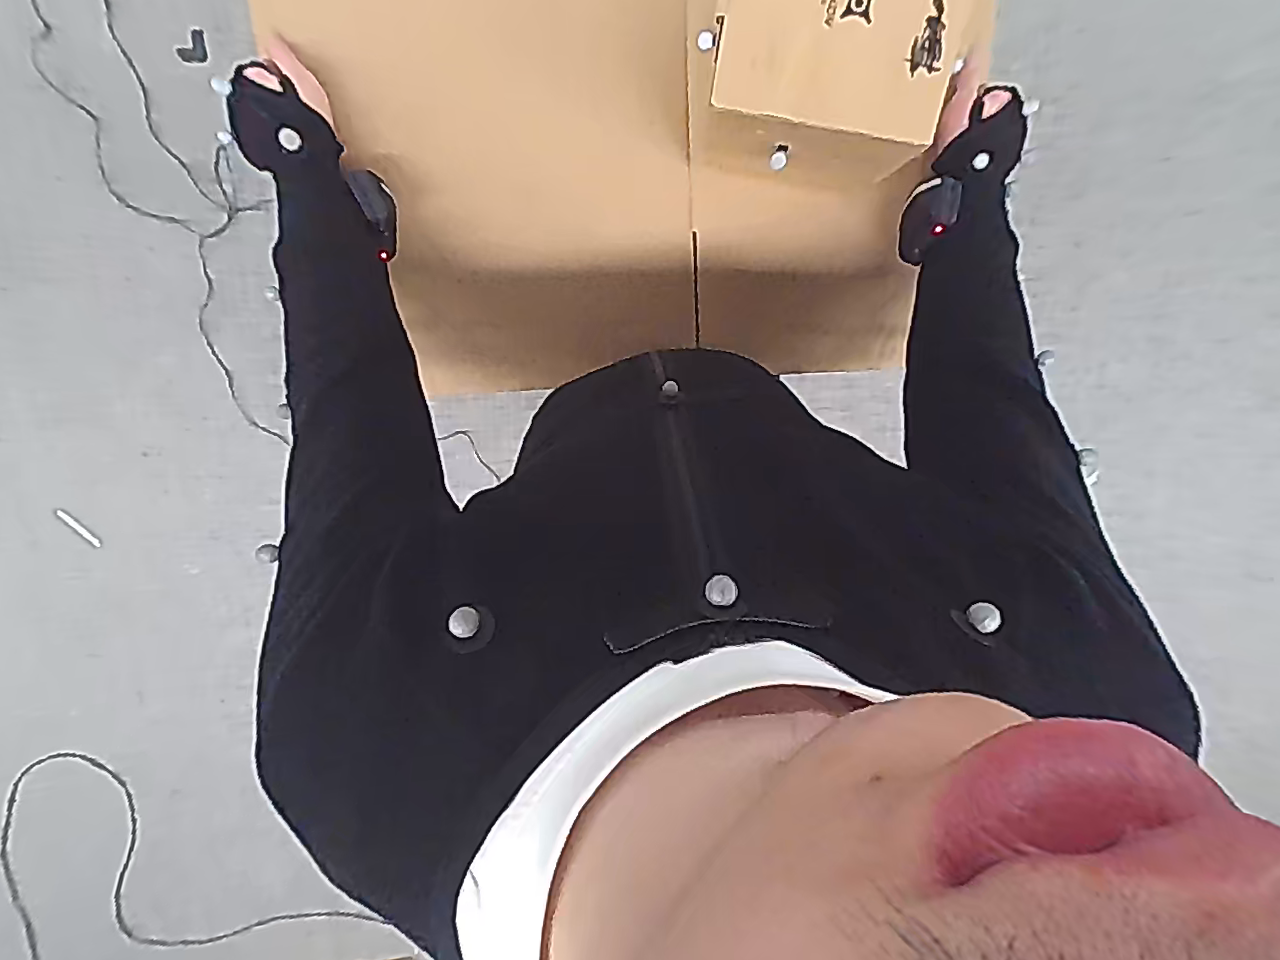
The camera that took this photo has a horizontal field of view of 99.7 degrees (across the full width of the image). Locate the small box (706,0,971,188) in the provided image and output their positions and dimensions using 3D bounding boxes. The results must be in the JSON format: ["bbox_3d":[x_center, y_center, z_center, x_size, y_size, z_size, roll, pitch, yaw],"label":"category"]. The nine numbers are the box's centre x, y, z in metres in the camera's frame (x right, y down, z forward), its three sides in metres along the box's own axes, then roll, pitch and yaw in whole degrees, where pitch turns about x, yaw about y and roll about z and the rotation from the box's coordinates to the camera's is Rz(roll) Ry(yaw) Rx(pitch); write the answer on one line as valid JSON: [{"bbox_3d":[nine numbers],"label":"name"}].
[{"bbox_3d":[0.159,-0.375,0.473,0.179,0.176,0.168,10,106,1],"label":"small box"}]
